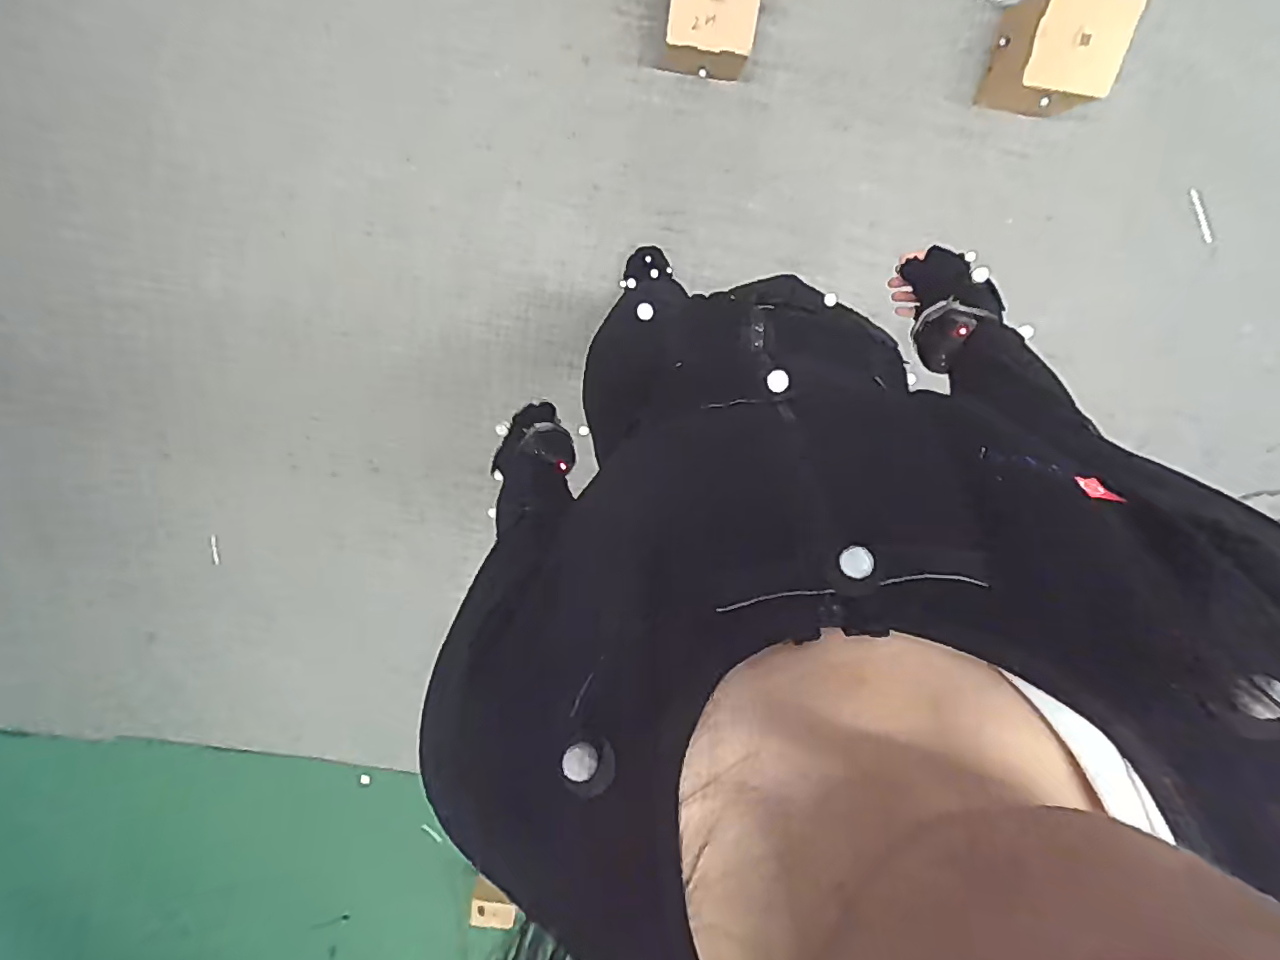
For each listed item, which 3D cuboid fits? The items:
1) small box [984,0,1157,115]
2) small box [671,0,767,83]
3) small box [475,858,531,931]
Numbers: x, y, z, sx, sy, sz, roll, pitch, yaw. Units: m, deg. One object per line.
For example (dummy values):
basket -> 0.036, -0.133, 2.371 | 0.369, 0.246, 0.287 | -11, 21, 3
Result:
small box -> 0.834, -0.841, 1.068 | 0.179, 0.176, 0.168 | 8, 114, -1
small box -> 0.153, -0.915, 1.058 | 0.168, 0.176, 0.179 | 7, 113, -1
small box -> -0.553, 1.672, 2.187 | 0.179, 0.176, 0.168 | 10, 113, -3
